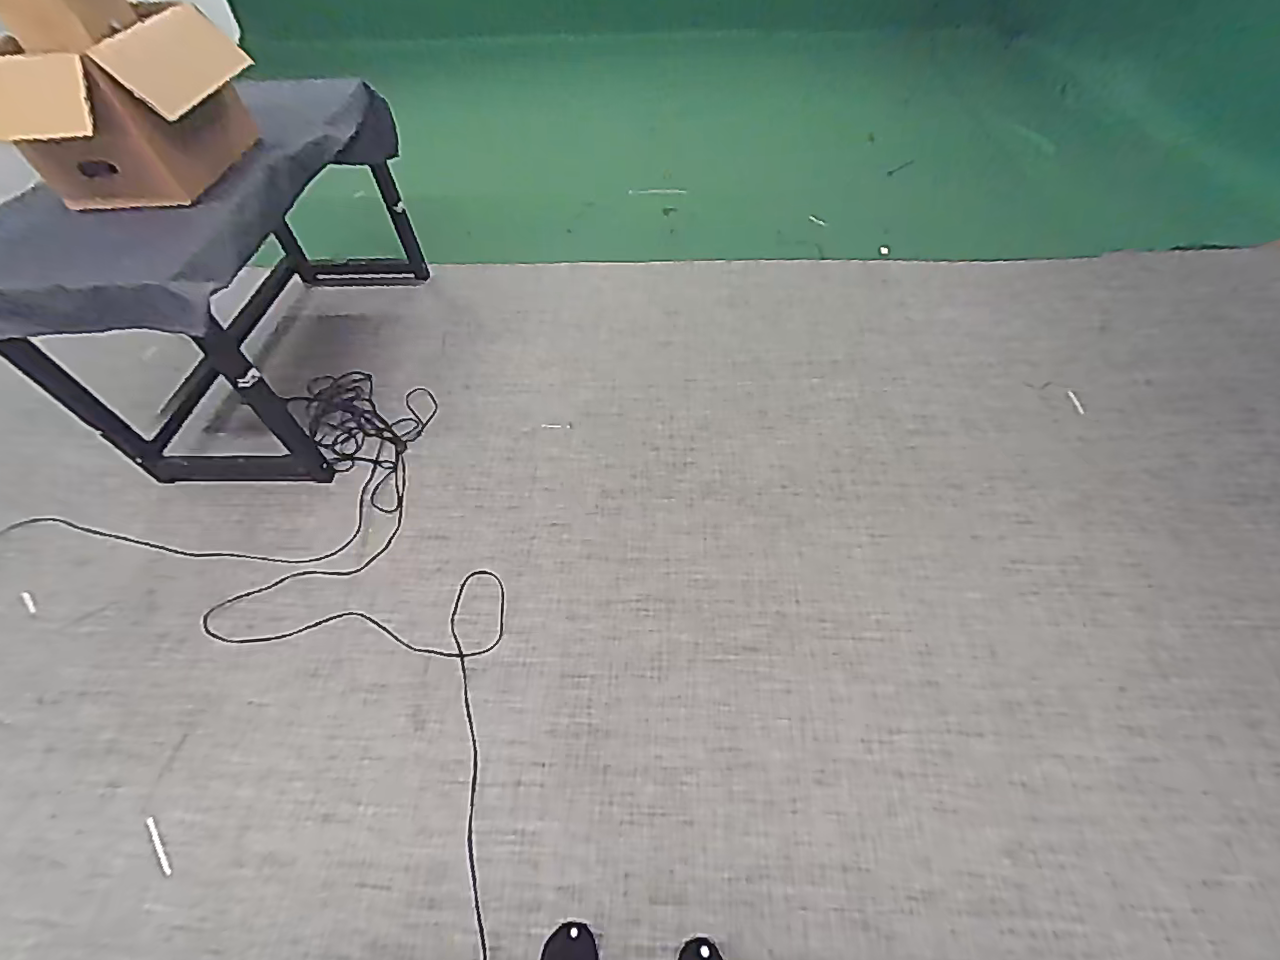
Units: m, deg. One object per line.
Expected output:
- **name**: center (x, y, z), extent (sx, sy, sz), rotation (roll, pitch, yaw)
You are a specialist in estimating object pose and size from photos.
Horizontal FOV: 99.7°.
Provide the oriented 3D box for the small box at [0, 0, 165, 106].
- **small box**: center (-1.258, -0.986, 1.242), extent (0.168, 0.176, 0.179), rotation (-1, 53, 2)
